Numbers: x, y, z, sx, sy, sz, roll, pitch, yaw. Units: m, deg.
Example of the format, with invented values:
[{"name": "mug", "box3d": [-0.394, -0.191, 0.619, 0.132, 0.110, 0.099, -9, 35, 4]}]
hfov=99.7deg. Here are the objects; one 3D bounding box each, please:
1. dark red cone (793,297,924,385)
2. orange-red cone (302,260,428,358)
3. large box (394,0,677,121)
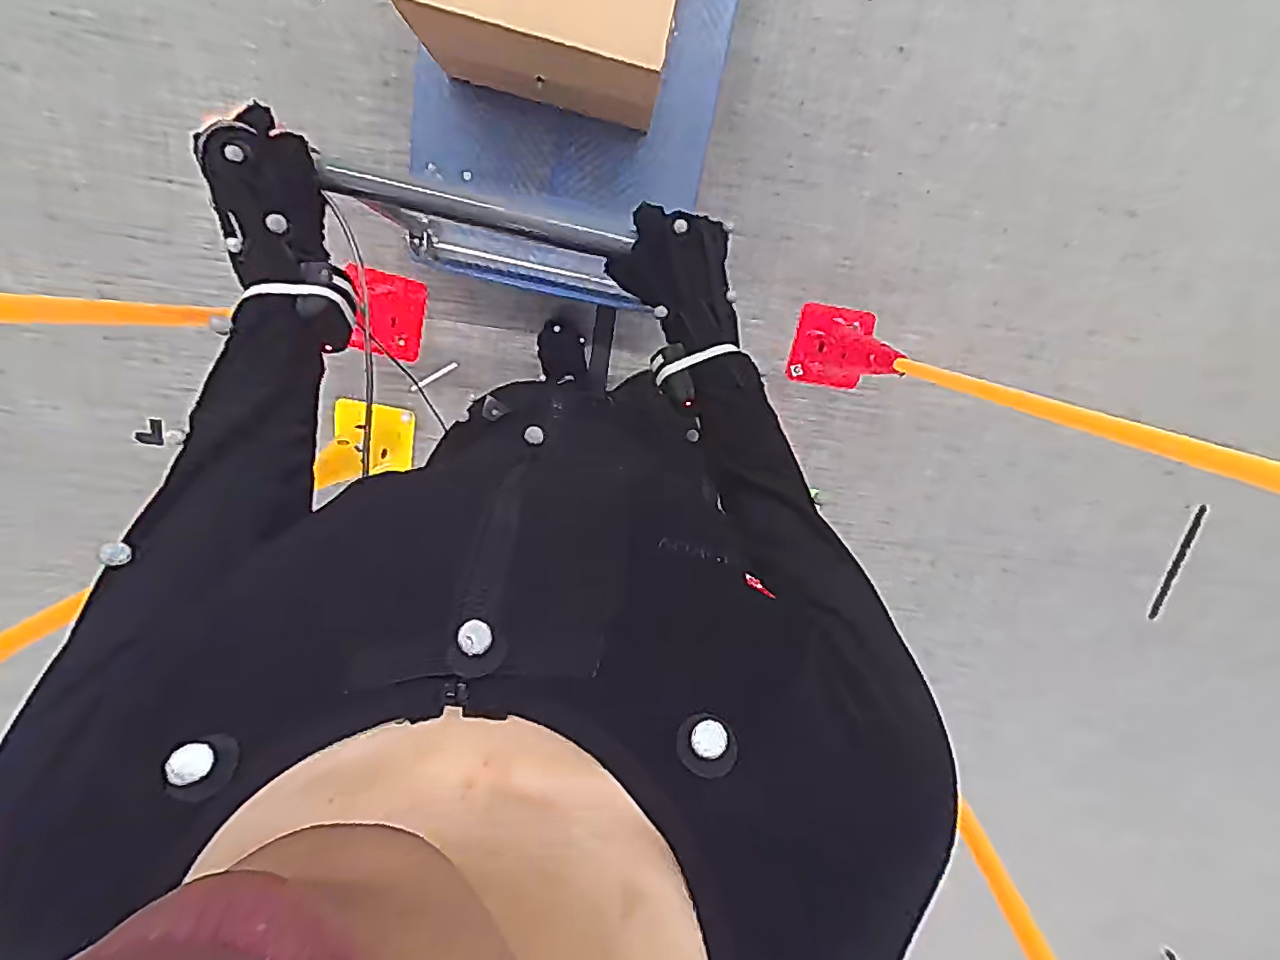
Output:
[{"name": "dark red cone", "box3d": [0.511, -0.298, 1.220, 0.201, 0.394, 0.202, 7, 109, -7]}, {"name": "orange-red cone", "box3d": [-0.620, -0.364, 1.163, 0.198, 0.360, 0.199, 14, 106, -9]}, {"name": "large box", "box3d": [-0.134, -0.836, 0.872, 0.408, 0.320, 0.320, 11, 108, -6]}]
